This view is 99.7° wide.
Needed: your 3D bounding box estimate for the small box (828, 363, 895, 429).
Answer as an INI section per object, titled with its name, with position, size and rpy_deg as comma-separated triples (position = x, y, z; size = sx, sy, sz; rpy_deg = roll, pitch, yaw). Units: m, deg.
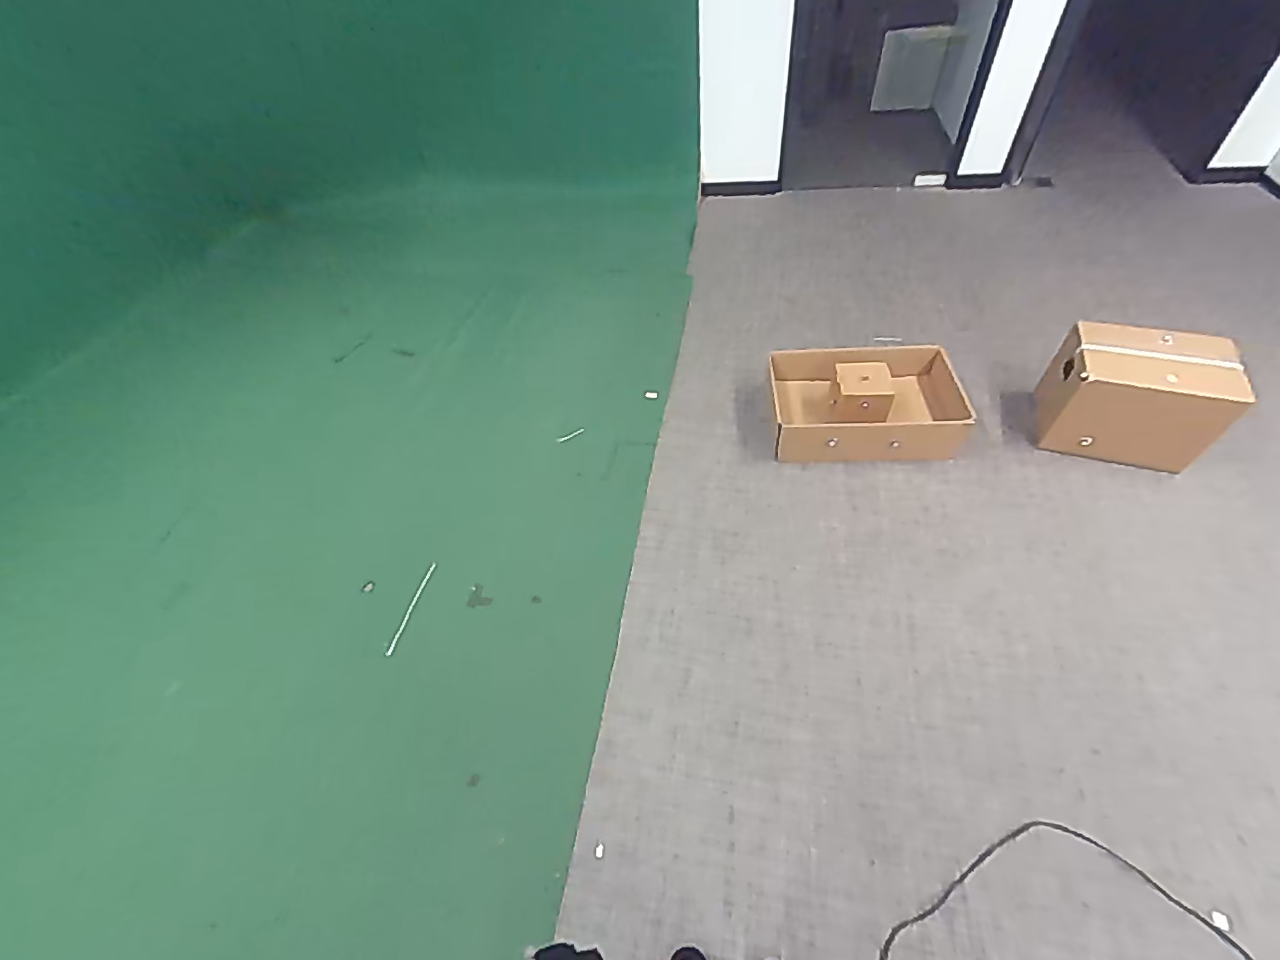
[small box]
position = 0.770, -0.295, 1.906
size = 0.179, 0.176, 0.168
rpy_deg = 1, 51, 6
